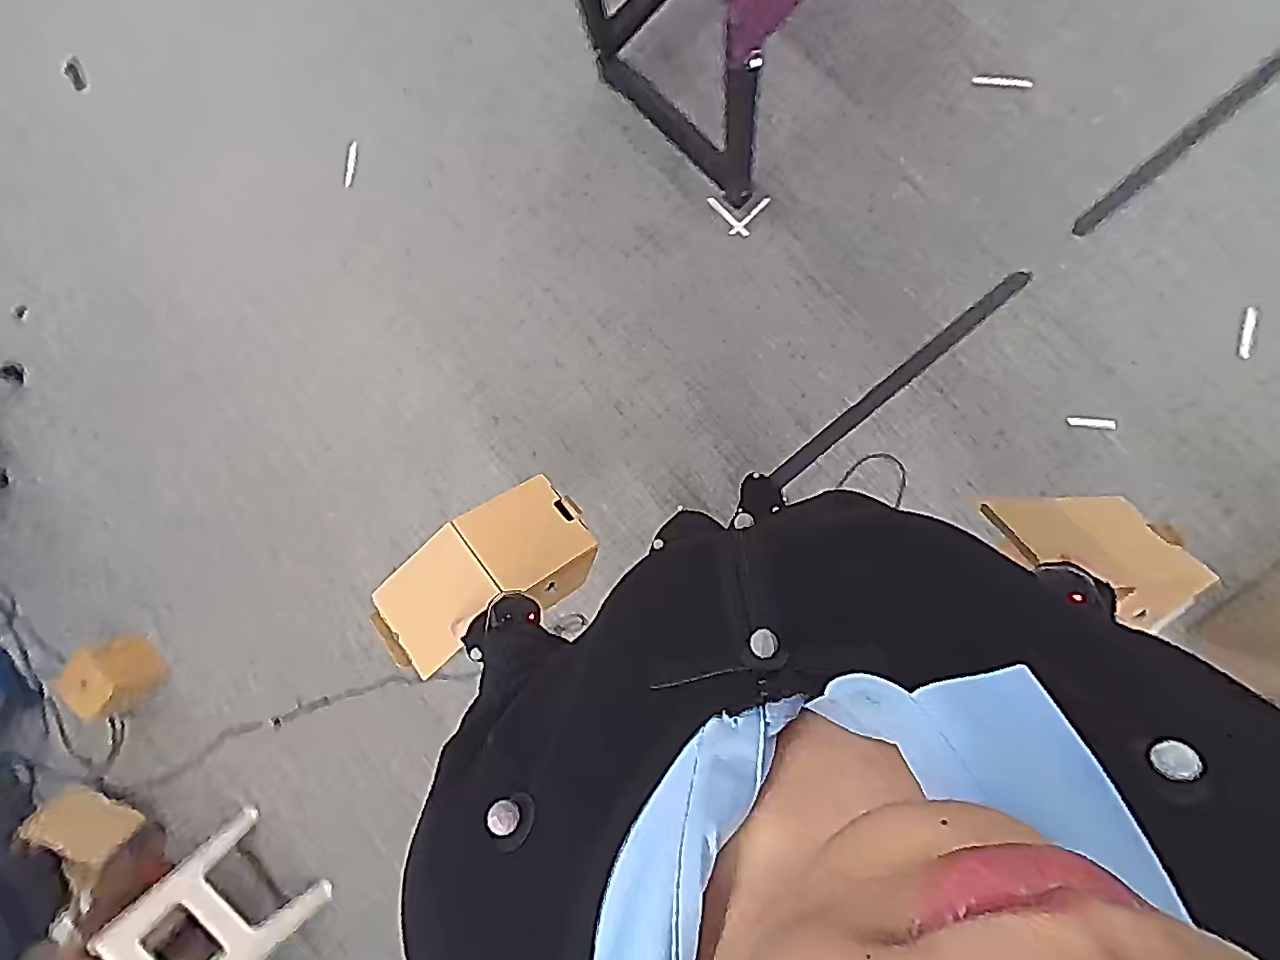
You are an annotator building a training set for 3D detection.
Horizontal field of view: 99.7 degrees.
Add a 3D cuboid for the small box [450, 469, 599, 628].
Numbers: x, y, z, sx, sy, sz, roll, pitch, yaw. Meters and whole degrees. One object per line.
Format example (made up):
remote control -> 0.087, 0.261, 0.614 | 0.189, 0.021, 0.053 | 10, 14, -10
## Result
small box -> -0.196, 0.120, 0.909 | 0.179, 0.176, 0.168 | -30, 70, -32
